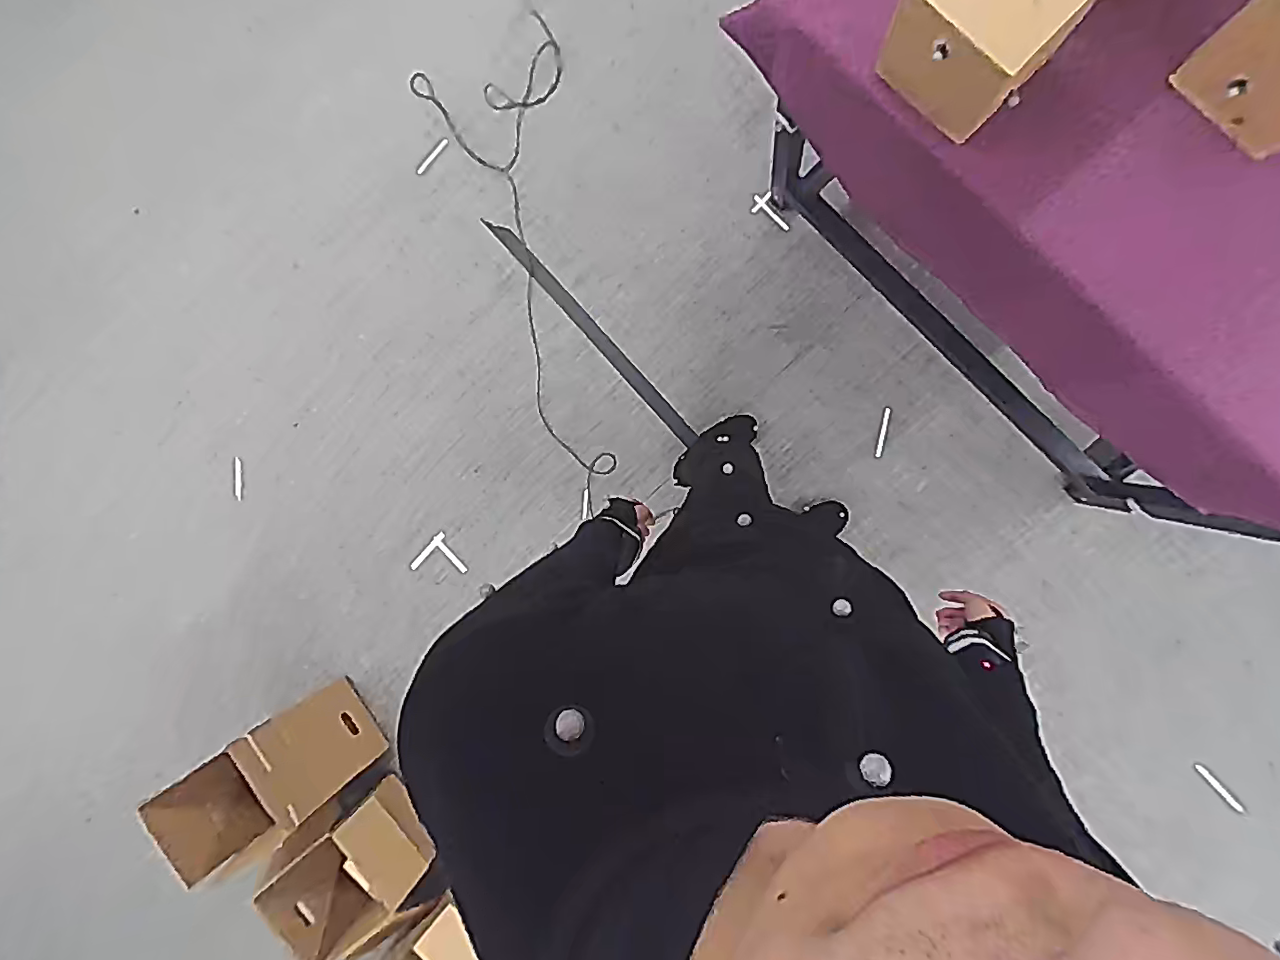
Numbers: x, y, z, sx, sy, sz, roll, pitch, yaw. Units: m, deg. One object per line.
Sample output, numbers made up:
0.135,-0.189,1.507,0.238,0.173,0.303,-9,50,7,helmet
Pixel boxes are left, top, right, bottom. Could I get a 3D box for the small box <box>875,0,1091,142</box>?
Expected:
0.442,-0.597,0.709,0.168,0.176,0.179,-45,86,11,small box
